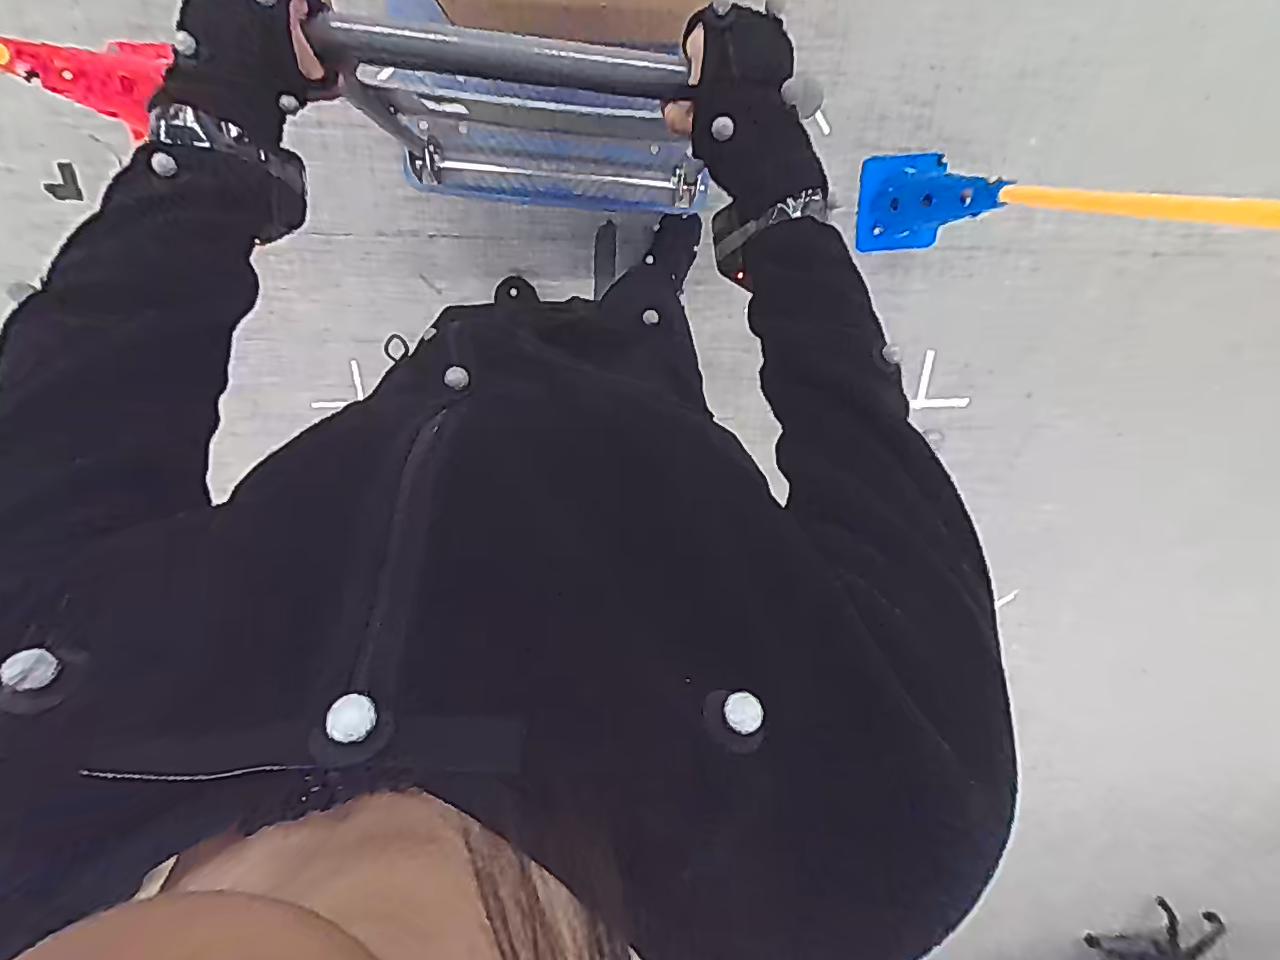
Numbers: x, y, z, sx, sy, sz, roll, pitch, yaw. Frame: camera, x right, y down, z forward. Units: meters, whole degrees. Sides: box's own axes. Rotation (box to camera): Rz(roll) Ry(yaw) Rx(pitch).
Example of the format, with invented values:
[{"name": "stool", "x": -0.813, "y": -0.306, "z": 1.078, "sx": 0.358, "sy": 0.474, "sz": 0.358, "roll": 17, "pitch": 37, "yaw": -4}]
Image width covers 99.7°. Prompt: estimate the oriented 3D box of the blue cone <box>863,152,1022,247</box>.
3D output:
[{"name": "blue cone", "x": 0.625, "y": -0.581, "z": 1.101, "sx": 0.193, "sy": 0.380, "sz": 0.192, "roll": -4, "pitch": 114, "yaw": -4}]
